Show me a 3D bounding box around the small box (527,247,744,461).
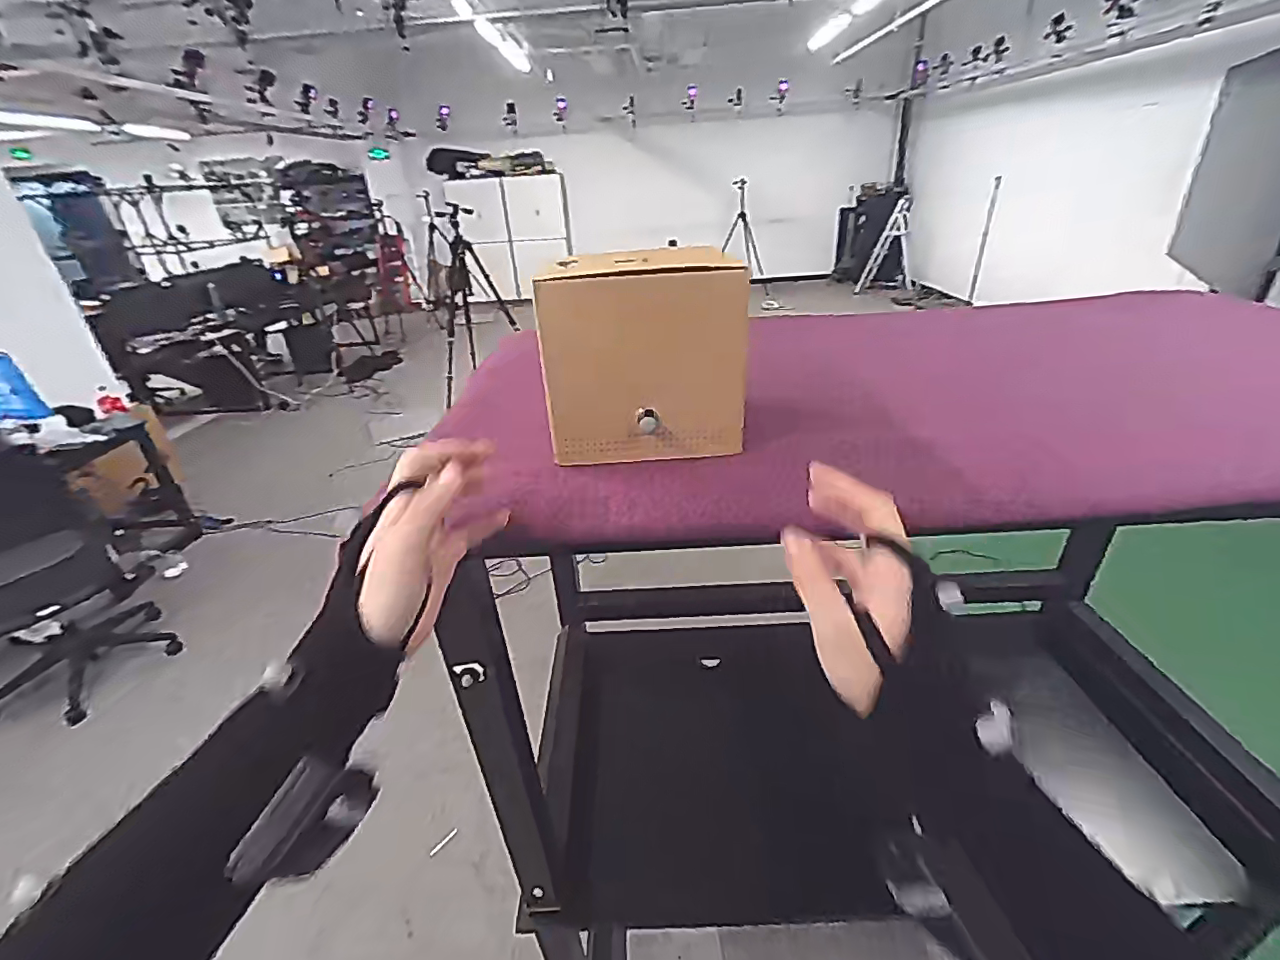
[{"bbox_3d":[-0.003,-0.129,0.535,0.179,0.176,0.168,-4,28,-1],"label":"small box"}]
